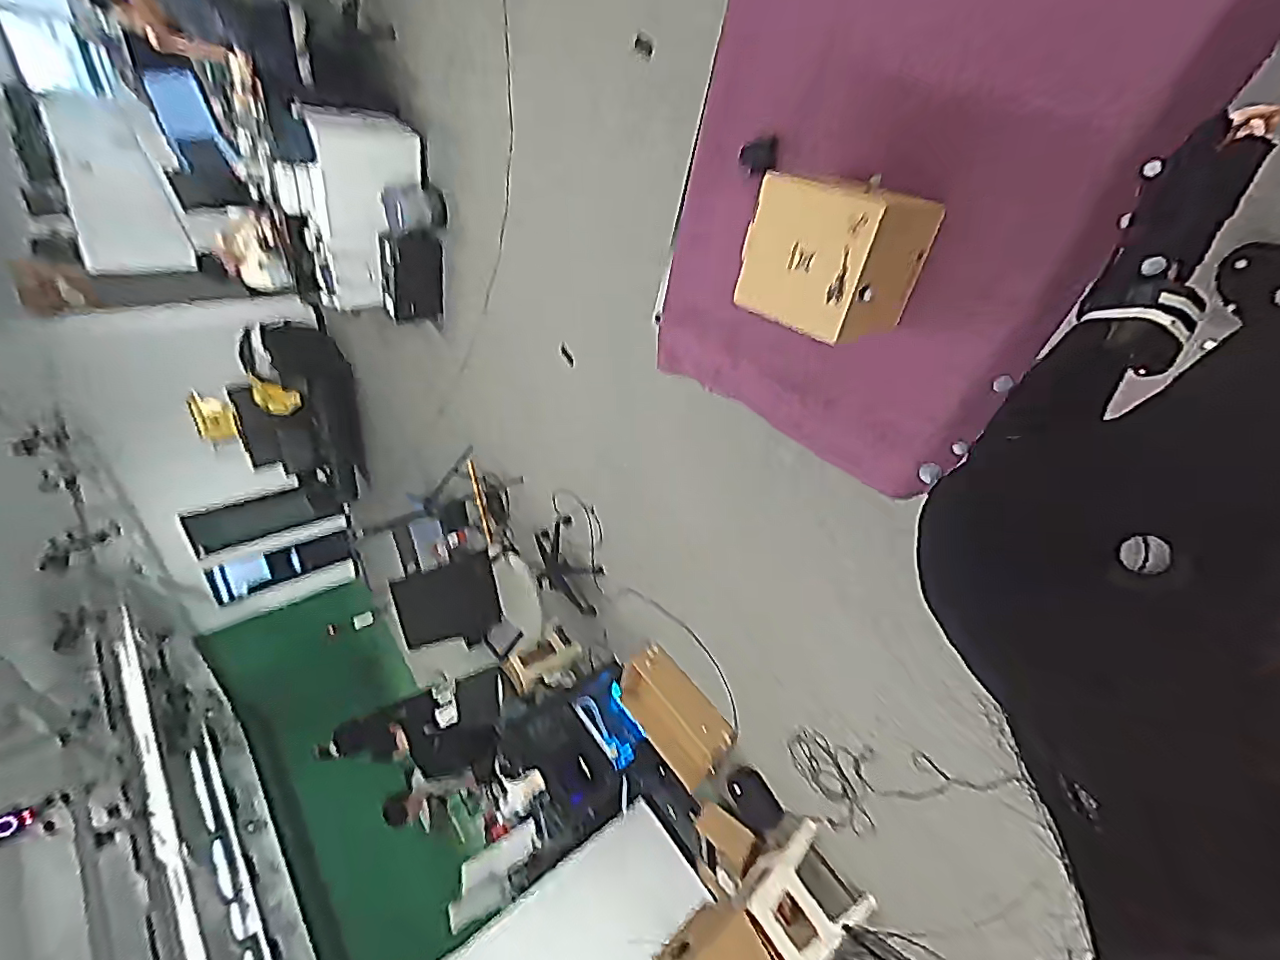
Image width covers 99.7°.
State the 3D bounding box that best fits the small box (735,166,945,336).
[{"bbox_3d":[0.263,-0.310,0.728,0.179,0.176,0.168,39,135,35],"label":"small box"}]
